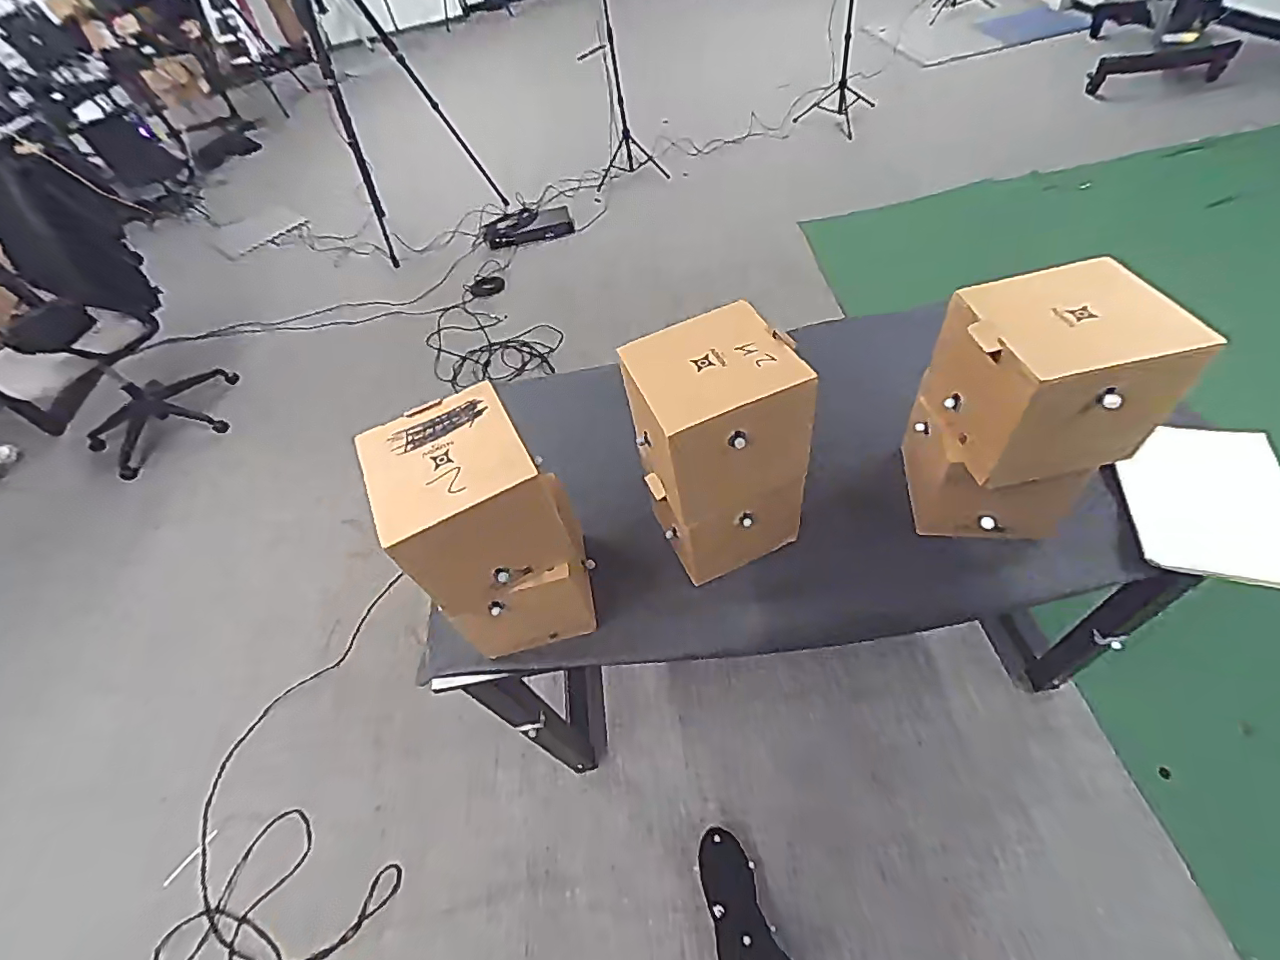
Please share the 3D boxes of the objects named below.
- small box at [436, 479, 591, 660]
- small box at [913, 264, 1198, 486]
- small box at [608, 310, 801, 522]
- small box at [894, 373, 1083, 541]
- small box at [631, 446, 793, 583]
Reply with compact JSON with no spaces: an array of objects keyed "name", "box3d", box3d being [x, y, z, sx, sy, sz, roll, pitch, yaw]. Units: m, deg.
[{"name":"small box","box3d":[-0.176,0.130,0.778,0.168,0.176,0.179,-15,50,-1]},{"name":"small box","box3d":[0.452,-0.116,0.629,0.179,0.176,0.168,-13,50,3]},{"name":"small box","box3d":[0.081,-0.075,0.677,0.179,0.176,0.168,-22,51,-6]},{"name":"small box","box3d":[0.473,-0.033,0.770,0.168,0.176,0.179,0,52,13]},{"name":"small box","box3d":[0.107,0.024,0.806,0.179,0.176,0.168,-24,52,-8]}]
